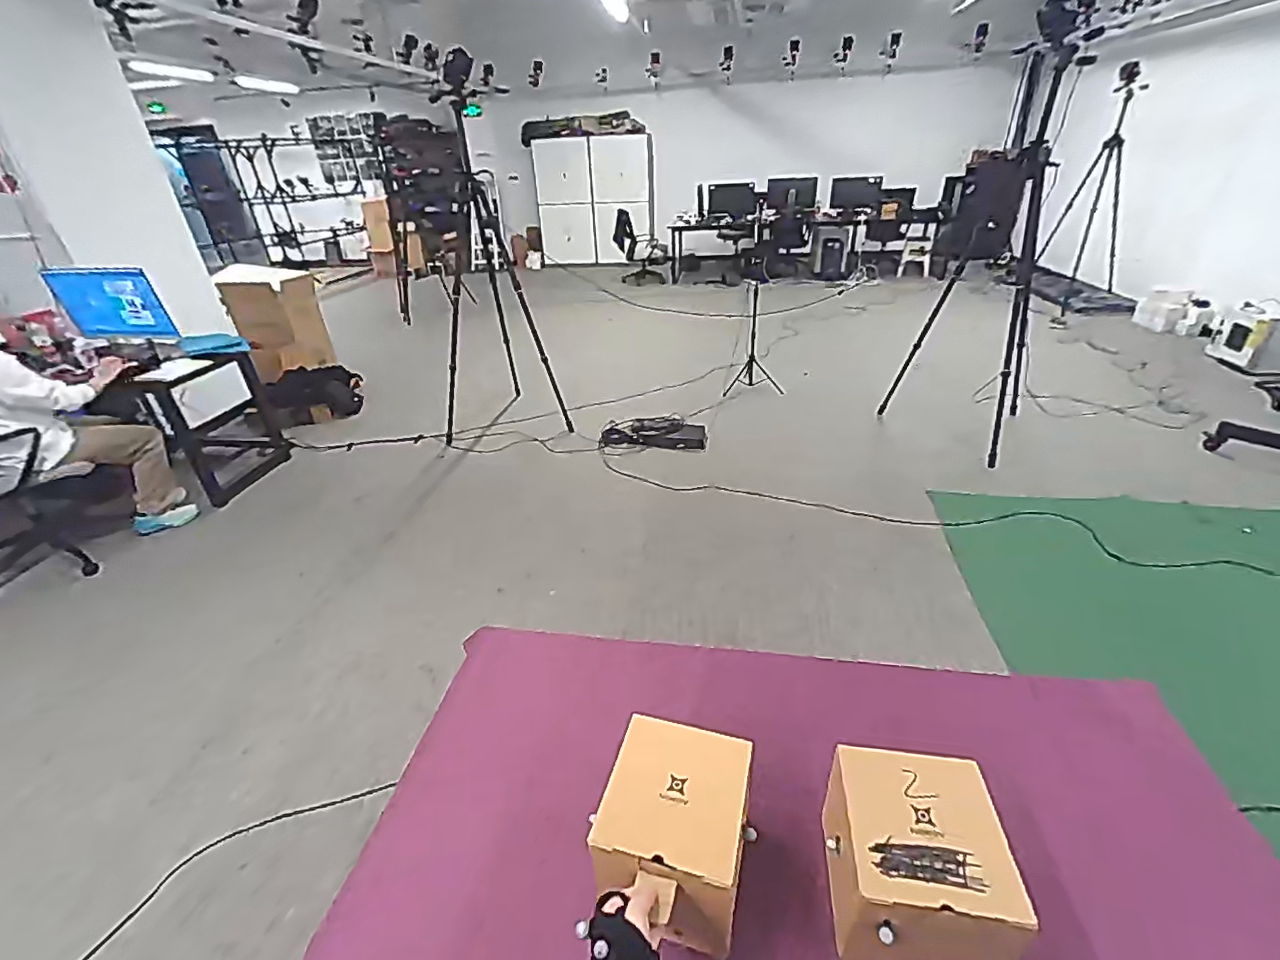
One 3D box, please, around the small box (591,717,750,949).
[{"bbox_3d":[0.046,0.454,0.709,0.168,0.176,0.179,7,32,16],"label":"small box"}]
